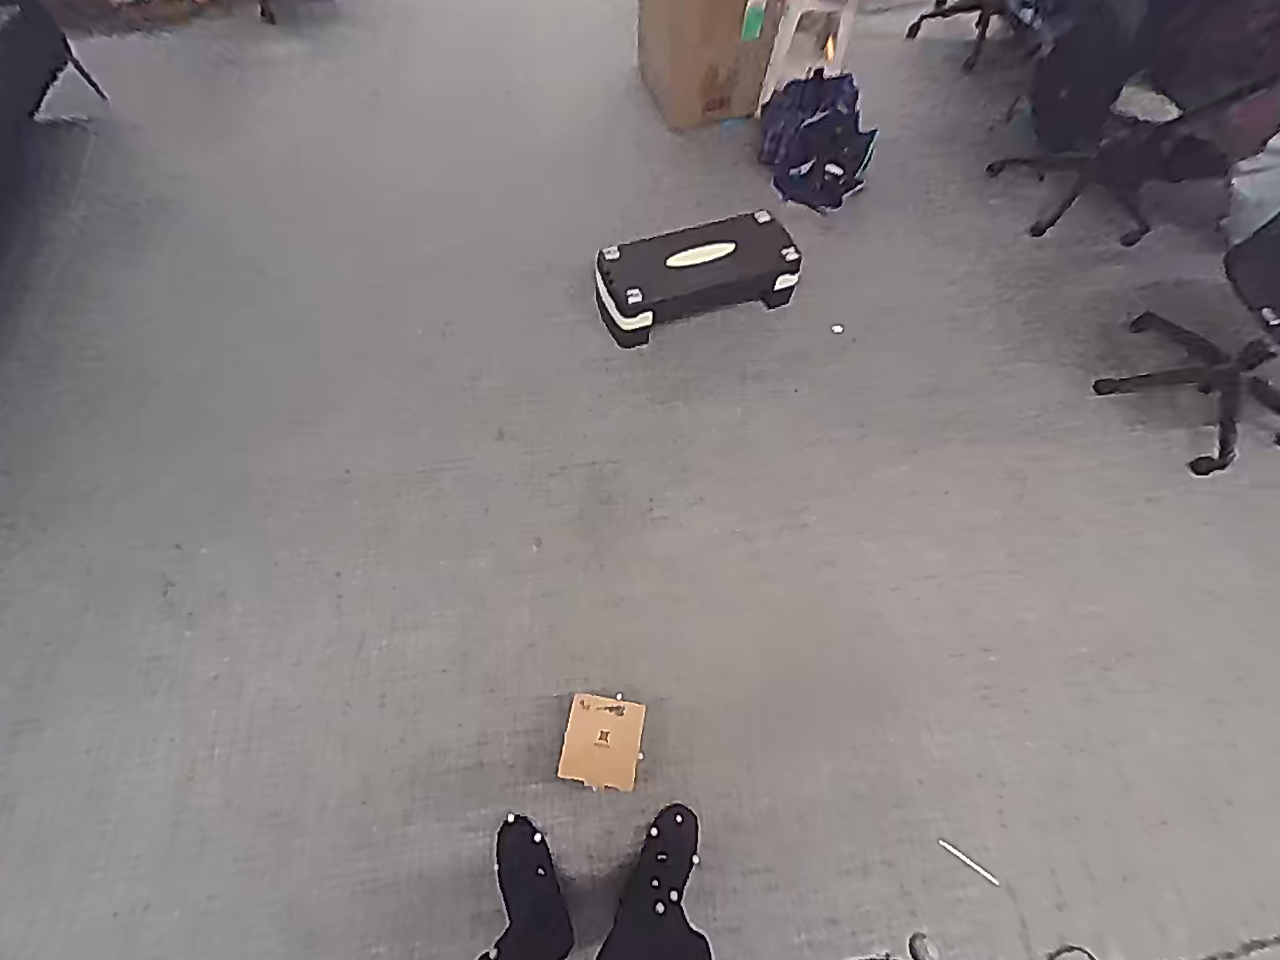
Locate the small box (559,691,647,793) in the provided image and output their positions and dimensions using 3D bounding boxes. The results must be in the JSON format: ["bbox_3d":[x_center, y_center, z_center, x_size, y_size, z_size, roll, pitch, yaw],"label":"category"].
[{"bbox_3d":[-0.077,0.597,1.242,0.168,0.176,0.179,9,65,4],"label":"small box"}]
